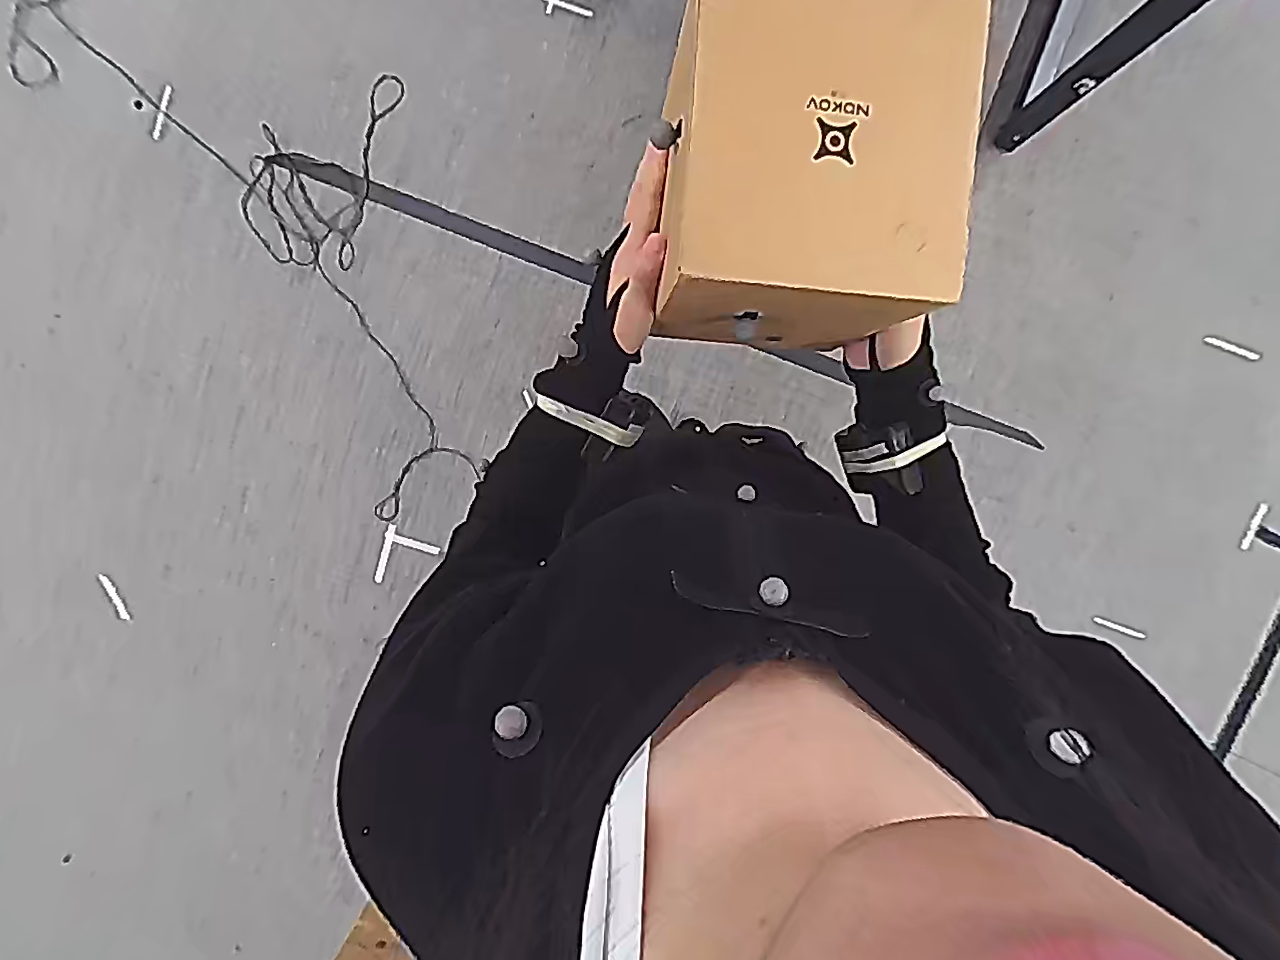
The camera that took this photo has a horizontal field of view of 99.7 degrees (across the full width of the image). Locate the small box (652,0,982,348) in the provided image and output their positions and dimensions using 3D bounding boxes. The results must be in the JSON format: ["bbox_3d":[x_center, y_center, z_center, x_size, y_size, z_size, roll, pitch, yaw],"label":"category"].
[{"bbox_3d":[0.101,-0.198,0.385,0.168,0.176,0.179,3,92,-6],"label":"small box"}]

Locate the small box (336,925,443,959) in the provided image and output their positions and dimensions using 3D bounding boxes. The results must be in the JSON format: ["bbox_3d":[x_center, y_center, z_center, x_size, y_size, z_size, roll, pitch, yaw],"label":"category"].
[{"bbox_3d":[-0.437,0.878,0.874,0.168,0.176,0.179,12,95,1],"label":"small box"}]
